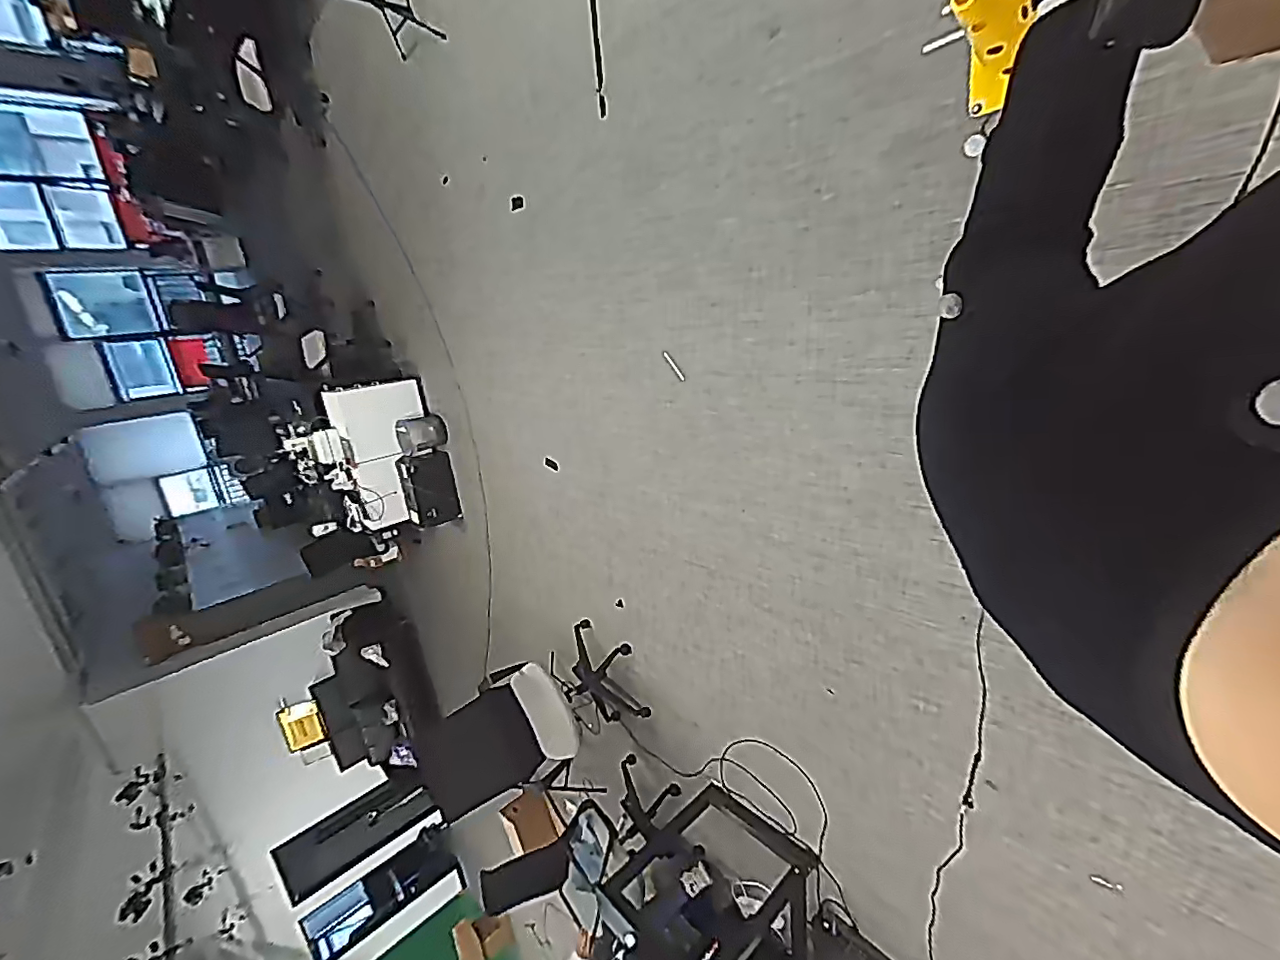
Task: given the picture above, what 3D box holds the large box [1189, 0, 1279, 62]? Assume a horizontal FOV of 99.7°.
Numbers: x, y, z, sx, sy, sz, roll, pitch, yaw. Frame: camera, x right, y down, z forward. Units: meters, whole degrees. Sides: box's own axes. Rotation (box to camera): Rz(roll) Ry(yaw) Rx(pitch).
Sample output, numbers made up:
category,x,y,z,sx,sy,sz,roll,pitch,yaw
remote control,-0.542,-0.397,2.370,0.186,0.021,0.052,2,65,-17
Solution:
category,x,y,z,sx,sy,sz,roll,pitch,yaw
large box,0.547,-0.453,0.229,0.408,0.320,0.320,15,120,45
